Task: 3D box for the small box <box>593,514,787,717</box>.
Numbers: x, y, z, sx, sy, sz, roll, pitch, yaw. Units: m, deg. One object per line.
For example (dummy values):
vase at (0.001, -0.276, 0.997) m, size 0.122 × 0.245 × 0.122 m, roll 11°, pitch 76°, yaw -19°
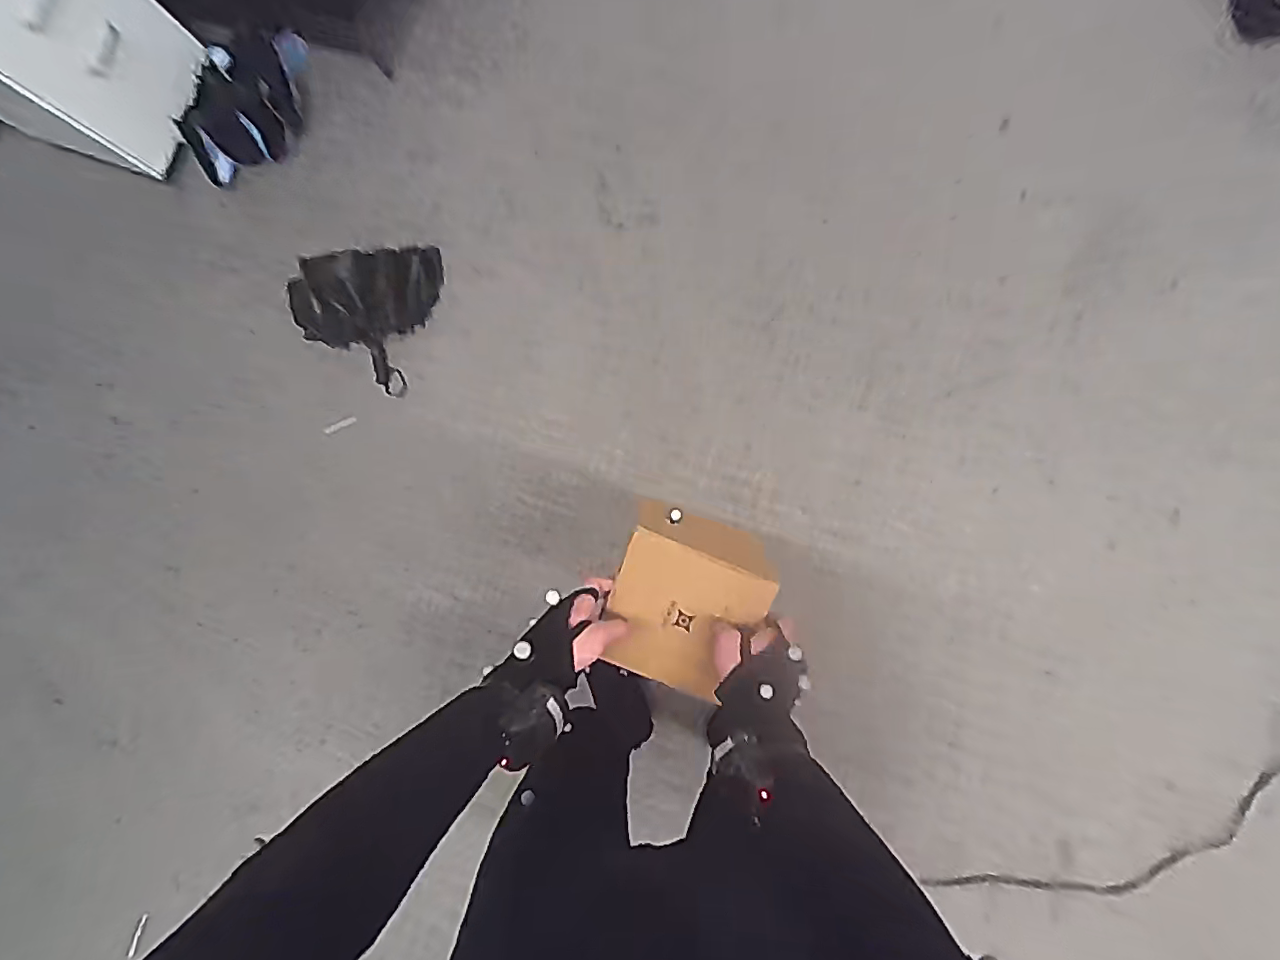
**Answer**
small box at (0.057, 0.157, 0.687) m, size 0.179 × 0.176 × 0.168 m, roll 21°, pitch 102°, yaw -3°
